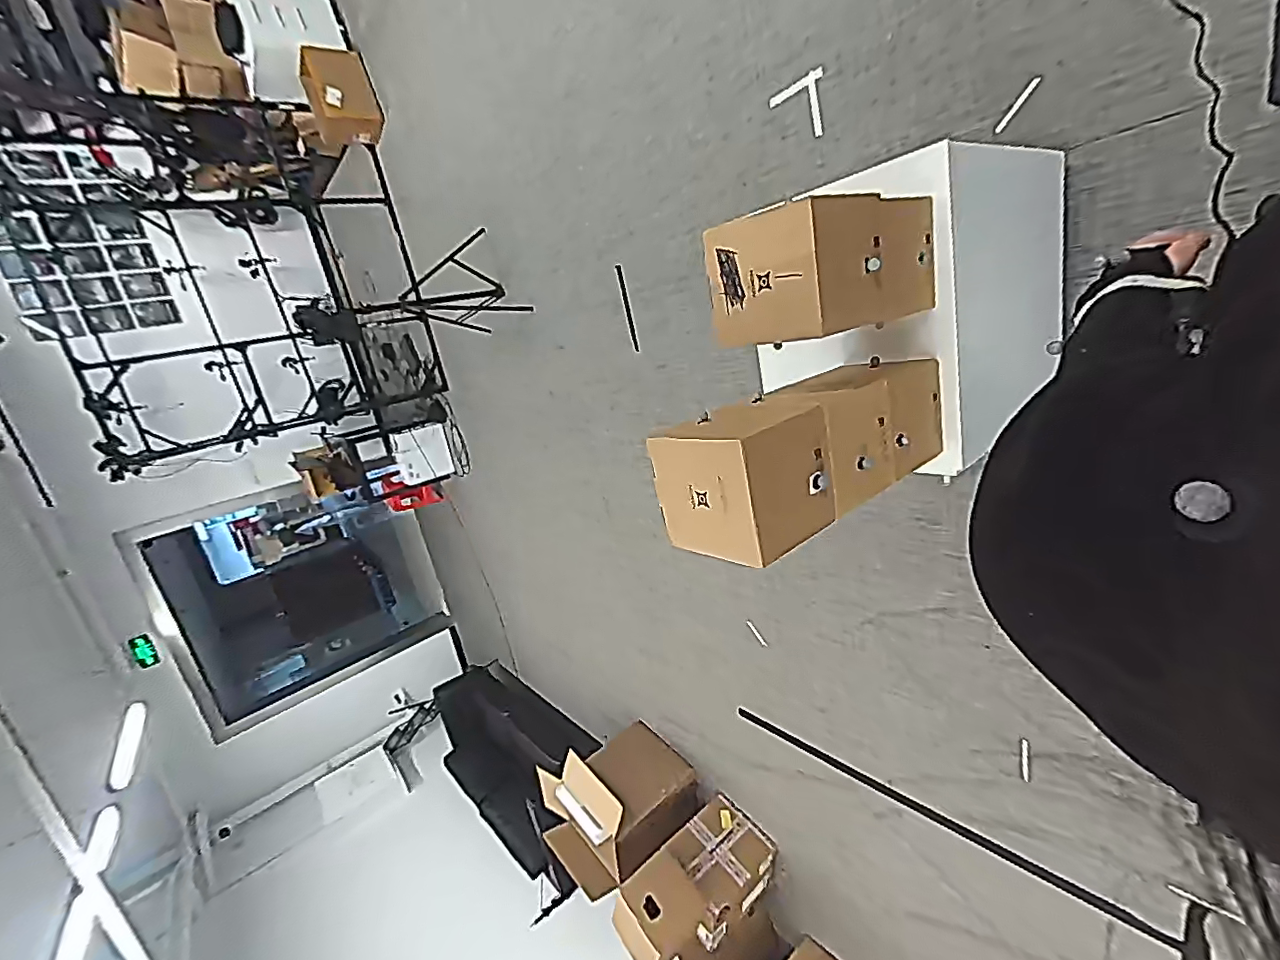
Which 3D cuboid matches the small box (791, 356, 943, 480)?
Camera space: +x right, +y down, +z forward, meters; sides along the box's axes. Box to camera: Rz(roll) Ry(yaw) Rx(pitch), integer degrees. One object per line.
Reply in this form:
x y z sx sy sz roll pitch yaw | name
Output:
0.386 -0.110 0.919 0.179 0.176 0.168 10 116 52 | small box

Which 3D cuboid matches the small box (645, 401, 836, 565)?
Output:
0.138 -0.007 0.736 0.179 0.176 0.168 6 115 52 | small box

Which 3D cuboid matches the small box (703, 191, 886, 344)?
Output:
0.216 -0.290 0.752 0.179 0.176 0.168 10 118 50 | small box

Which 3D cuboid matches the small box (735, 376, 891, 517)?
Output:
0.263 -0.058 0.826 0.179 0.176 0.168 7 115 52 | small box
